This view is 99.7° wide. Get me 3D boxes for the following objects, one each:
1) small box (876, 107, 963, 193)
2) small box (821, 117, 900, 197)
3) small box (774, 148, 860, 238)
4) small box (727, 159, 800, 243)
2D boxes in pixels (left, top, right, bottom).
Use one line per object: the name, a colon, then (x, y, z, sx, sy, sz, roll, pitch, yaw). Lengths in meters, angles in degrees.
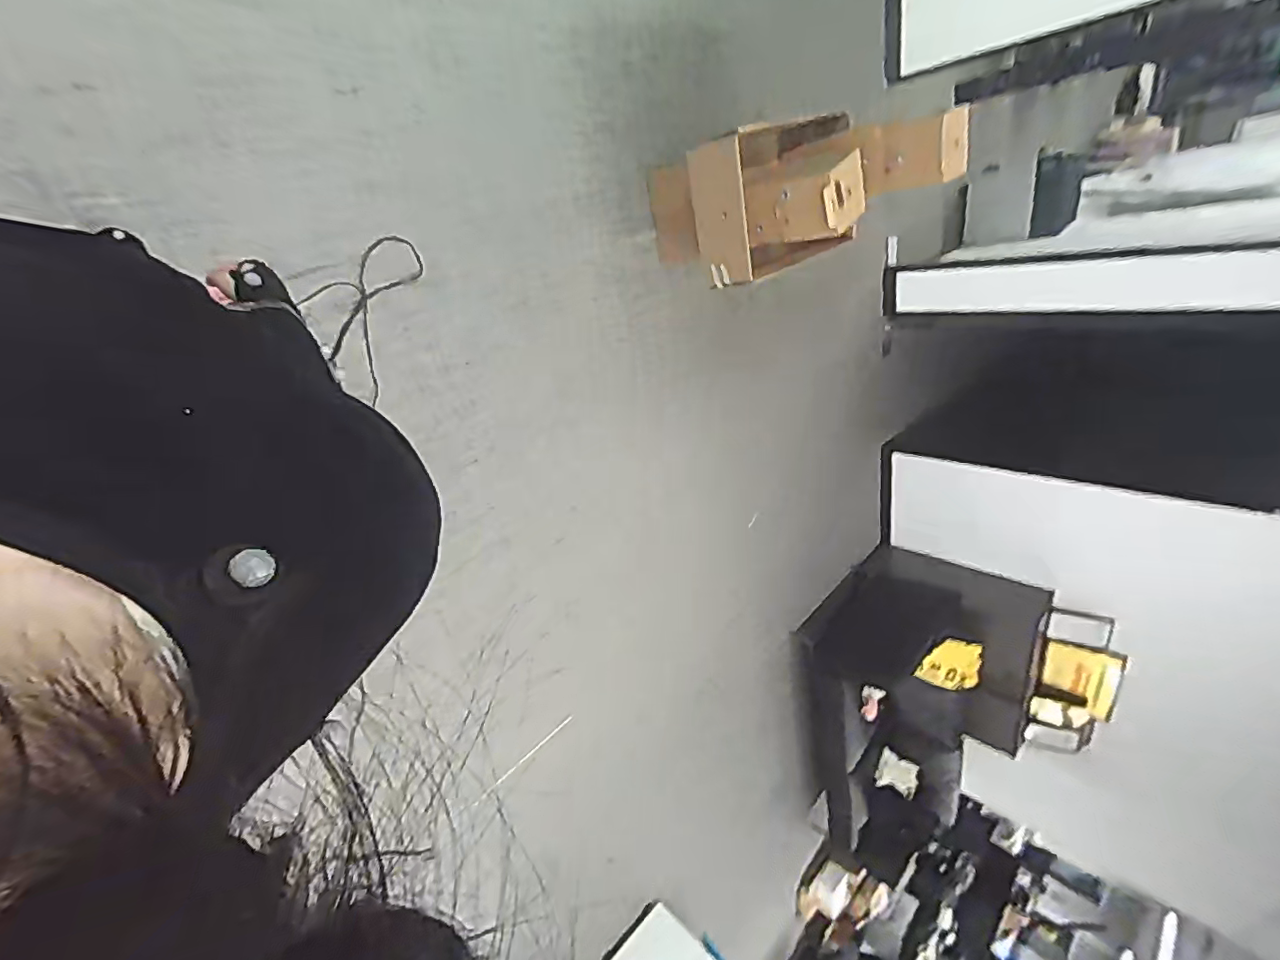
small box: (0.788, -0.930, 1.528, 0.179, 0.176, 0.168, -35, 123, -31)
small box: (0.668, -0.964, 1.636, 0.168, 0.176, 0.179, -37, 124, -30)
small box: (0.491, -0.797, 1.515, 0.179, 0.176, 0.168, -46, 131, -26)
small box: (0.380, -0.835, 1.630, 0.179, 0.176, 0.168, -46, 130, -26)
